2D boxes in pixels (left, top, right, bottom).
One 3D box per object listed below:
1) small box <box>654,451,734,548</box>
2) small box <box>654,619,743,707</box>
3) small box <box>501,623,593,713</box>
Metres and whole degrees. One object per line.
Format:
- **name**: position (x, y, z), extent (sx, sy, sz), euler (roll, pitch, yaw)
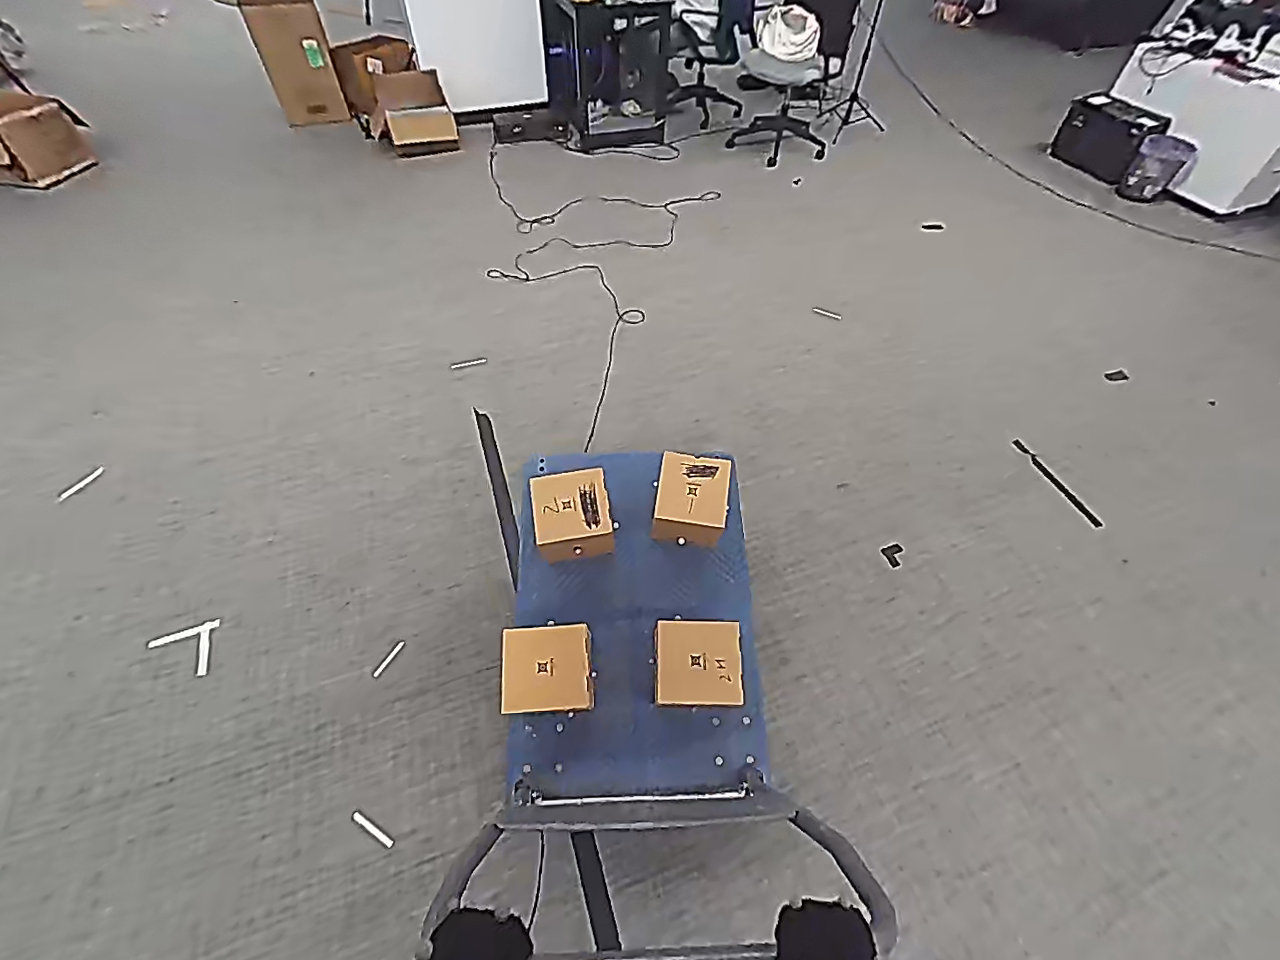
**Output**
- **small box**: position (0.129, 0.052, 1.339), extent (0.168, 0.176, 0.179), euler (9, 68, 3)
- **small box**: position (0.122, 0.405, 1.184), extent (0.179, 0.176, 0.168), euler (2, 67, 0)
- **small box**: position (-0.195, 0.410, 1.174), extent (0.179, 0.176, 0.168), euler (-2, 66, -4)
